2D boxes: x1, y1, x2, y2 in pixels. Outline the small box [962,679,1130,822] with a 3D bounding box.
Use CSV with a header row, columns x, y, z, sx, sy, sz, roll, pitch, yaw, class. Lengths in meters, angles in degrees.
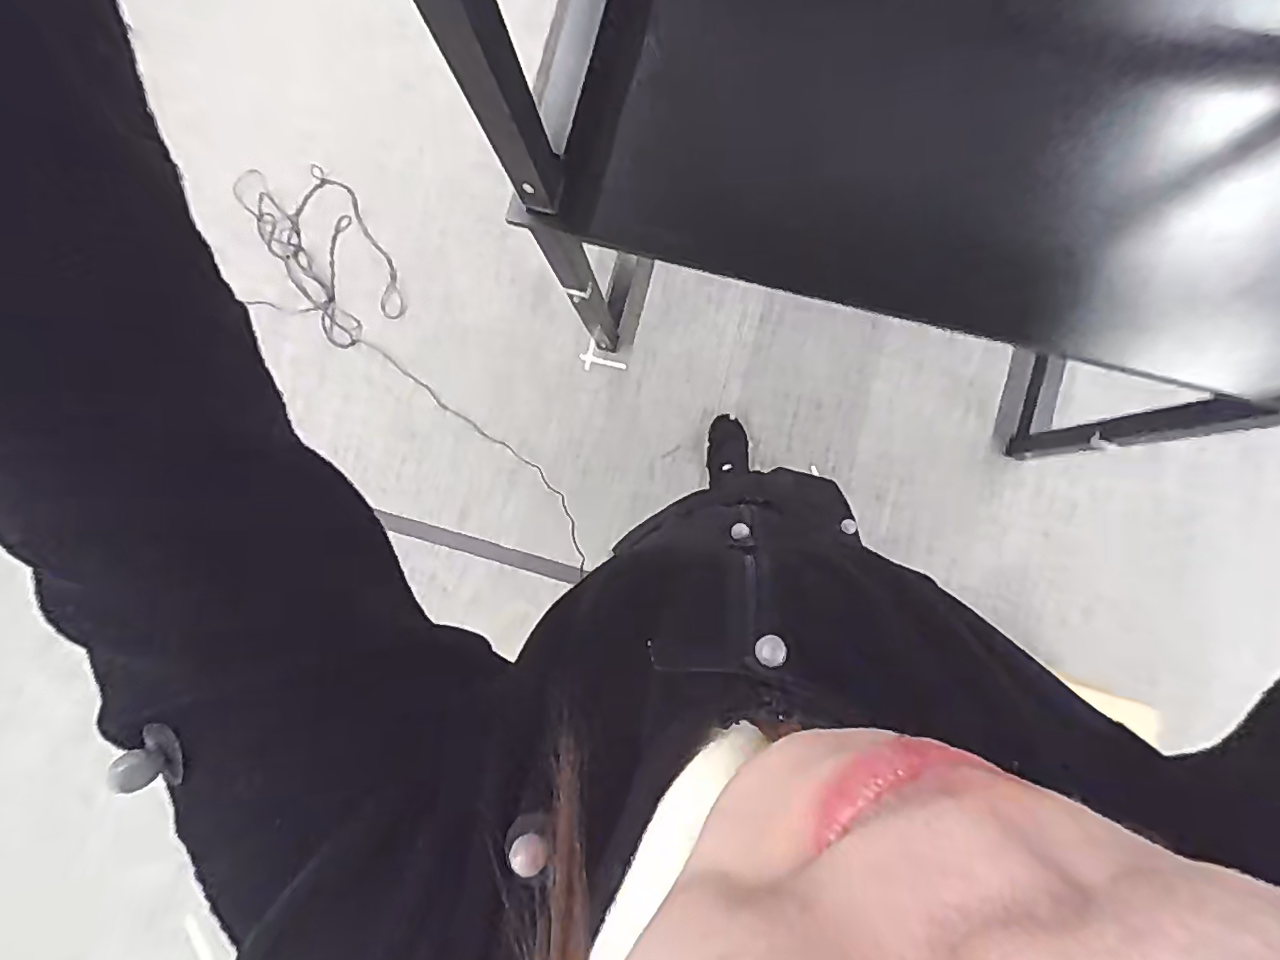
x,y,z,sx,sy,sz,roll,pitch,yaw,class
0.758,0.500,1.027,0.179,0.176,0.168,15,87,5,small box
